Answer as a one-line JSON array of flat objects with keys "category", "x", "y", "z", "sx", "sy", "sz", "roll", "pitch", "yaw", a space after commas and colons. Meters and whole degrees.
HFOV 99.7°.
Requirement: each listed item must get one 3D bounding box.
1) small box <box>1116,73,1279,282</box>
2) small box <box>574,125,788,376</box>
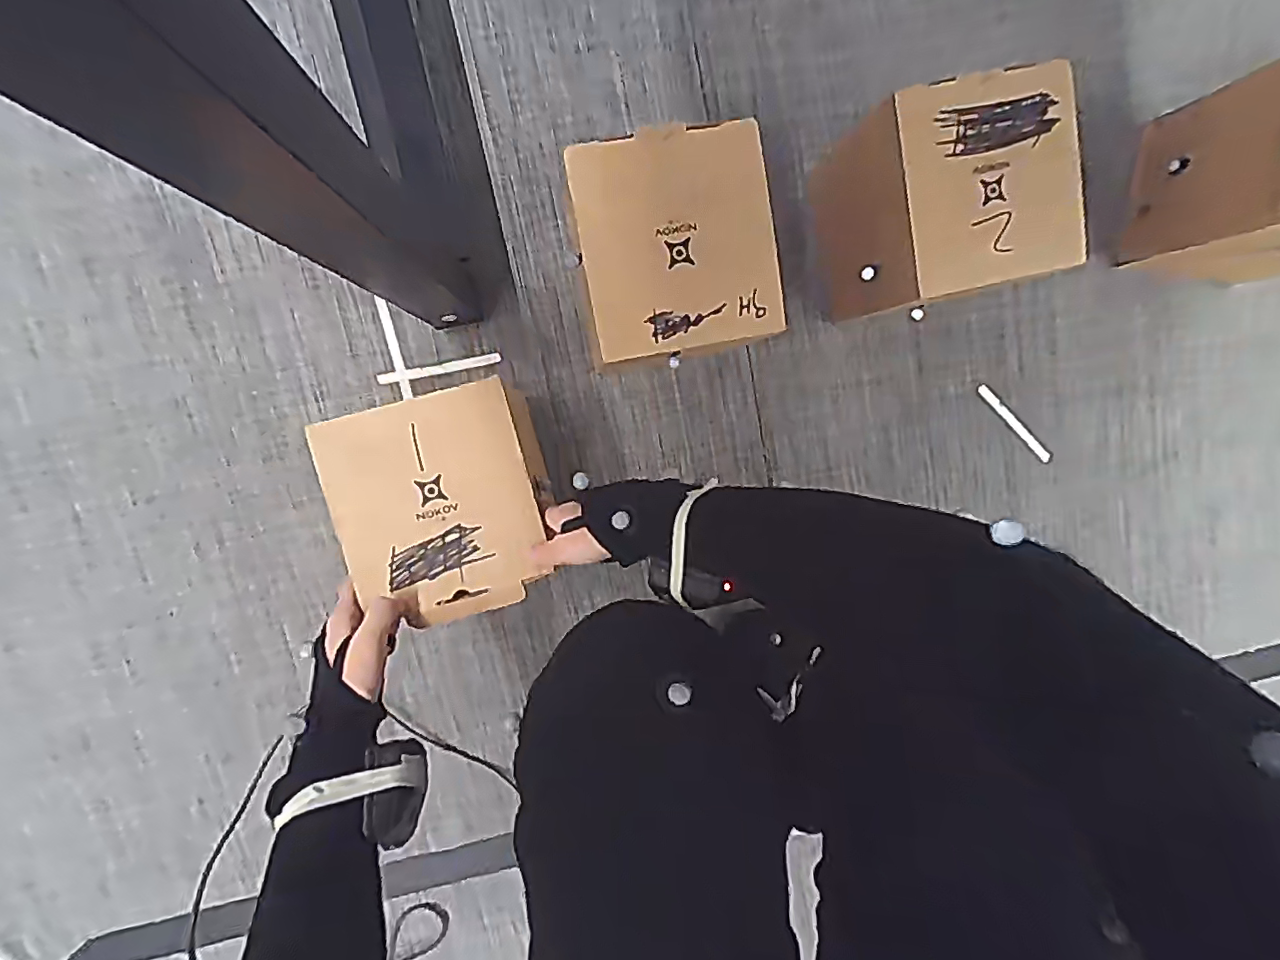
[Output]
[{"category": "small box", "x": 0.688, "y": -0.322, "z": 0.589, "sx": 0.179, "sy": 0.176, "sz": 0.168, "roll": 5, "pitch": 98, "yaw": -6}, {"category": "small box", "x": 0.028, "y": -0.206, "z": 0.530, "sx": 0.168, "sy": 0.176, "sz": 0.179, "roll": -10, "pitch": 97, "yaw": -5}]
